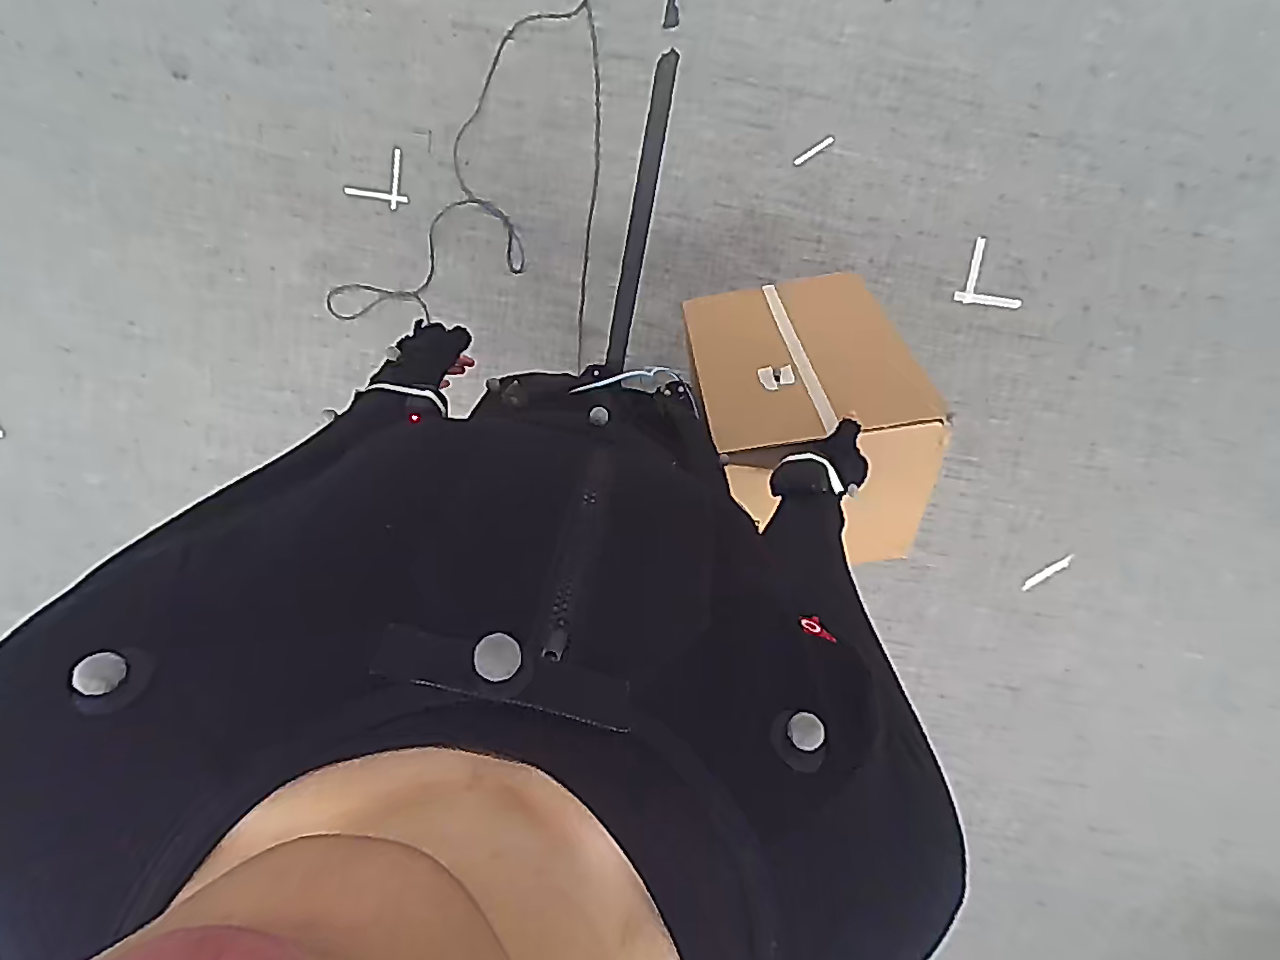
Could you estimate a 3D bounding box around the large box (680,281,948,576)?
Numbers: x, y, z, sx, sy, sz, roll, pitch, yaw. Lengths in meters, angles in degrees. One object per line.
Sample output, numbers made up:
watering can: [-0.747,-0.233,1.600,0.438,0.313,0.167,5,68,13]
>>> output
large box: [0.261,-0.095,0.962,0.320,0.408,0.320,-9,137,4]
